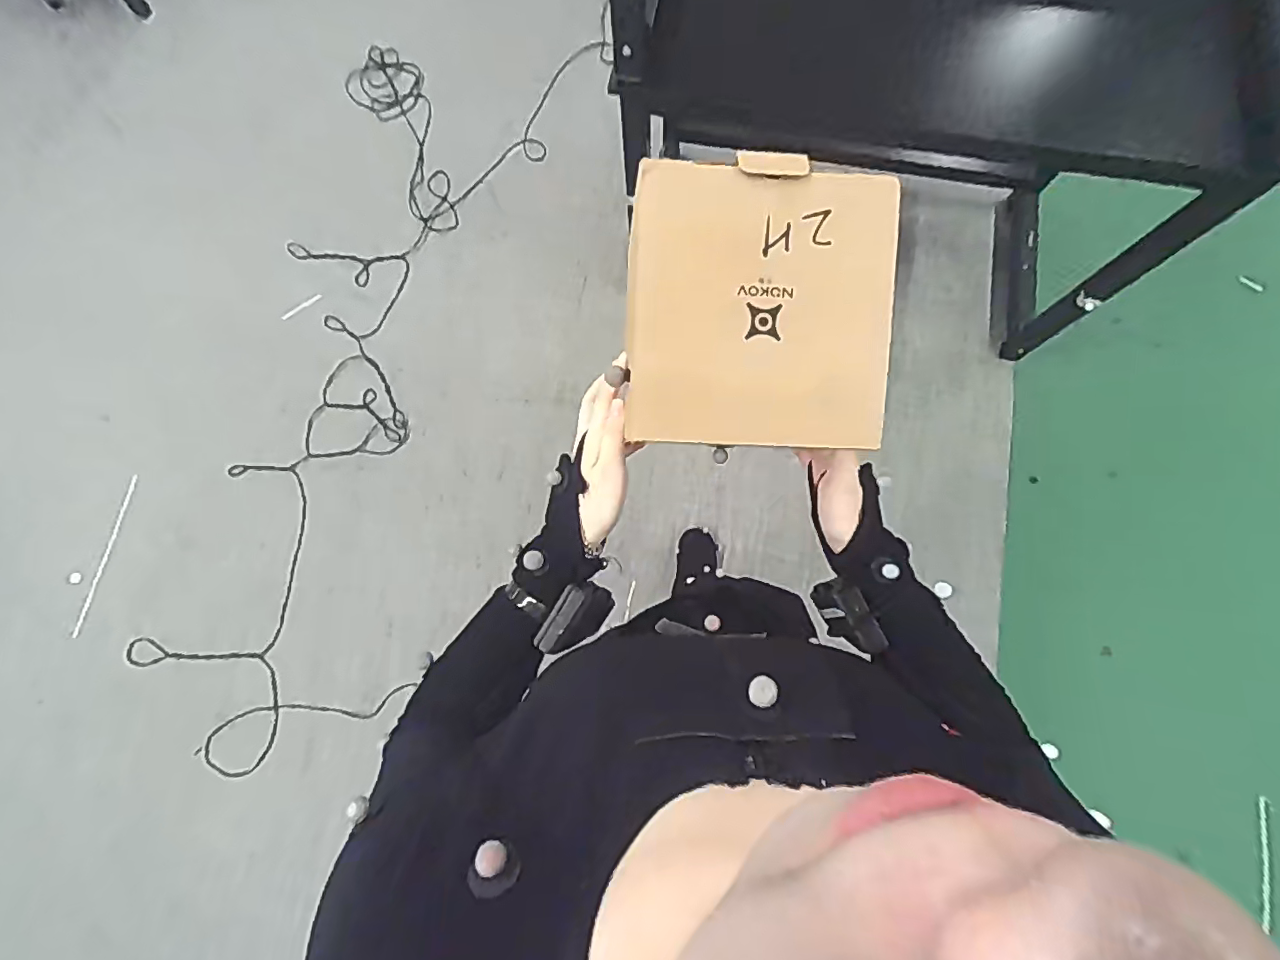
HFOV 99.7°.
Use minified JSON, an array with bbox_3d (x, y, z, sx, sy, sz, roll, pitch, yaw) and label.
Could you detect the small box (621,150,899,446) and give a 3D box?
[{"bbox_3d":[0.073,-0.120,0.422,0.168,0.176,0.179,2,95,-5],"label":"small box"}]
